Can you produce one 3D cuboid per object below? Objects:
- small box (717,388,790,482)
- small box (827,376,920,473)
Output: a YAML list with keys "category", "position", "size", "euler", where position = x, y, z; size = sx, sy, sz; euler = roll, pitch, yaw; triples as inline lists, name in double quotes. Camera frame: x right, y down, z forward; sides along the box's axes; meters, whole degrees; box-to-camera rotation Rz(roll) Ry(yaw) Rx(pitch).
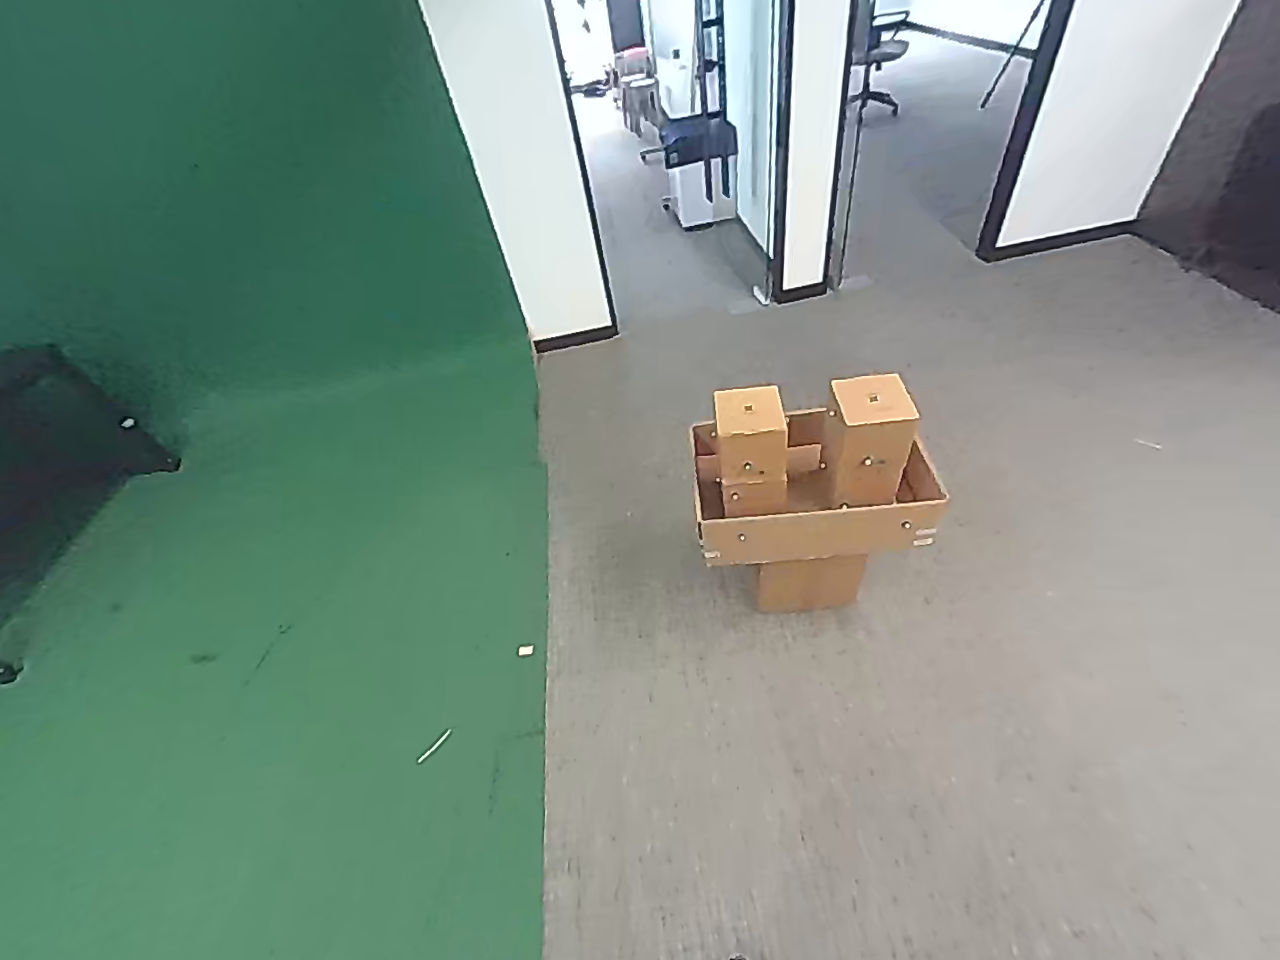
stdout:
- category: "small box"
  position: [0.288, -0.115, 1.405]
  size: [0.168, 0.176, 0.179]
  euler: [-4, 46, 7]
- category: "small box"
  position: [0.579, -0.138, 1.366]
  size: [0.168, 0.176, 0.179]
  euler: [-5, 47, 8]
